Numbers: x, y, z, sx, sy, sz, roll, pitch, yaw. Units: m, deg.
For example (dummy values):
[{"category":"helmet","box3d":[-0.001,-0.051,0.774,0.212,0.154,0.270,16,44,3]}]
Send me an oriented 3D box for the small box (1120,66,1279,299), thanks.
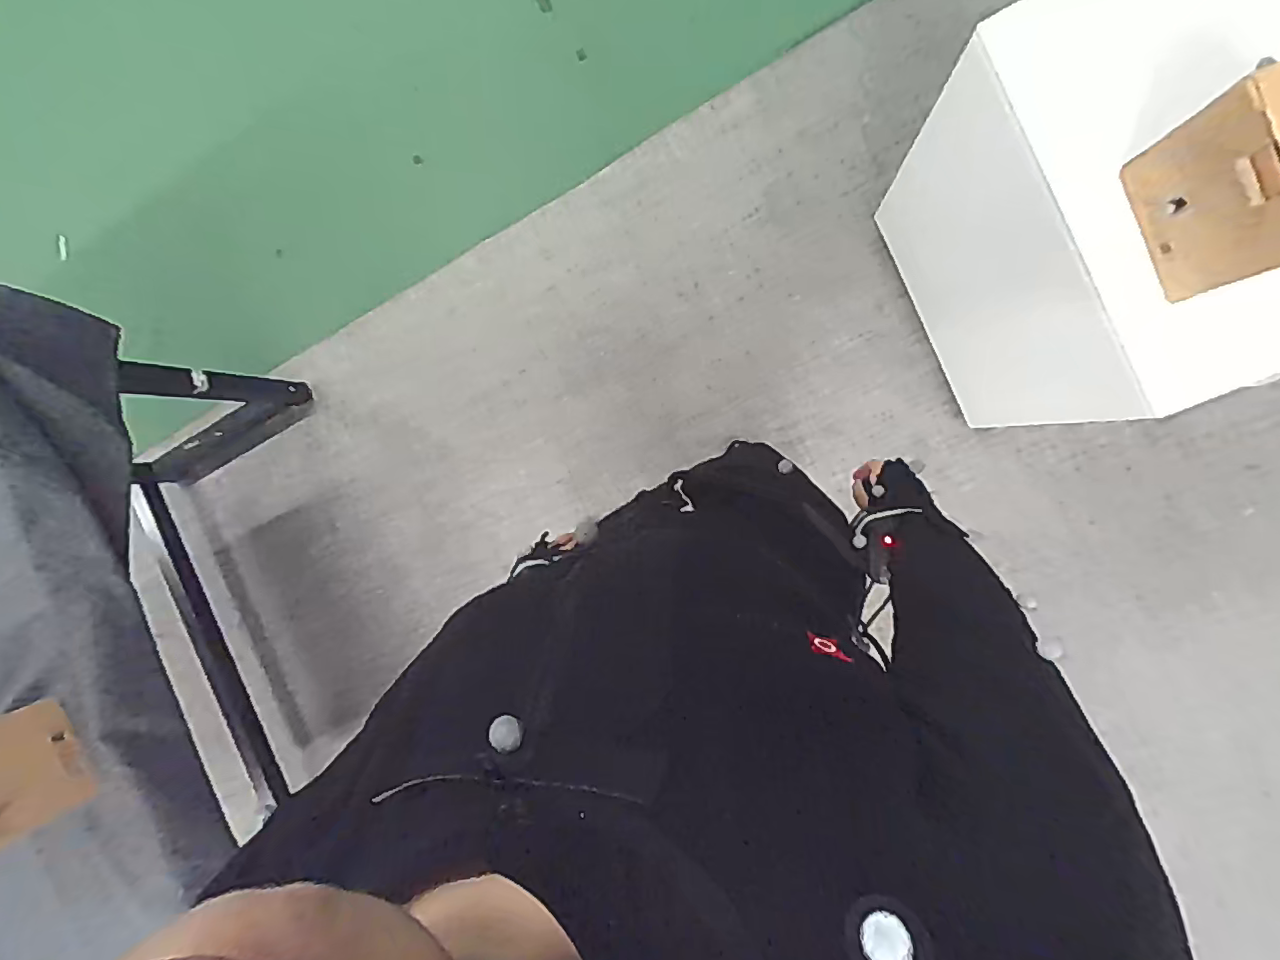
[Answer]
[{"category":"small box","box3d":[0.638,-0.301,0.526,0.179,0.176,0.168,-21,90,12]}]
